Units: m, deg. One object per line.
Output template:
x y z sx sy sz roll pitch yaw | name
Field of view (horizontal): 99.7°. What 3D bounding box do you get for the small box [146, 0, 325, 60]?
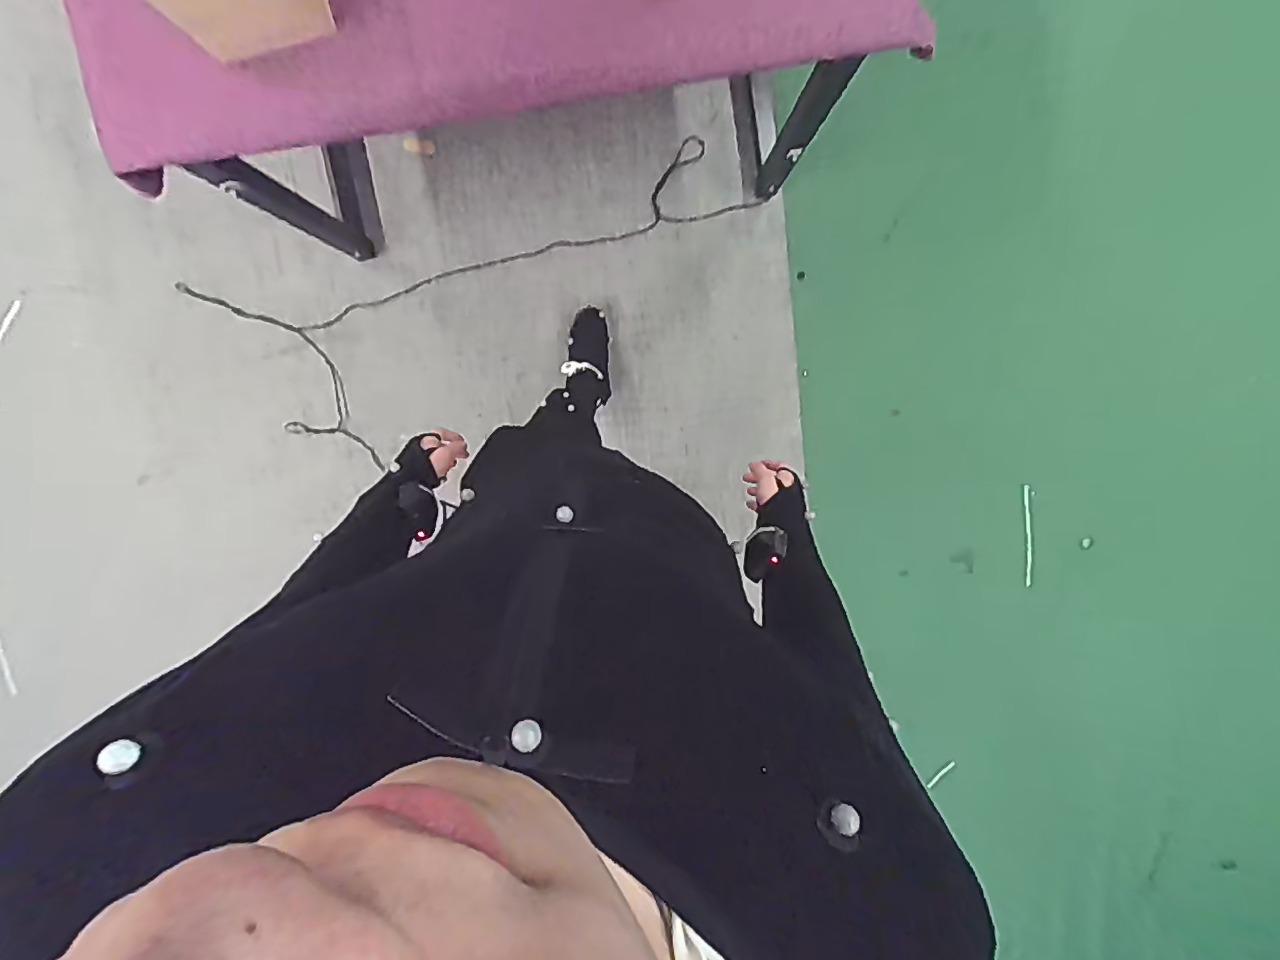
-0.535 -0.684 0.684 0.179 0.176 0.168 -14 98 1 | small box
